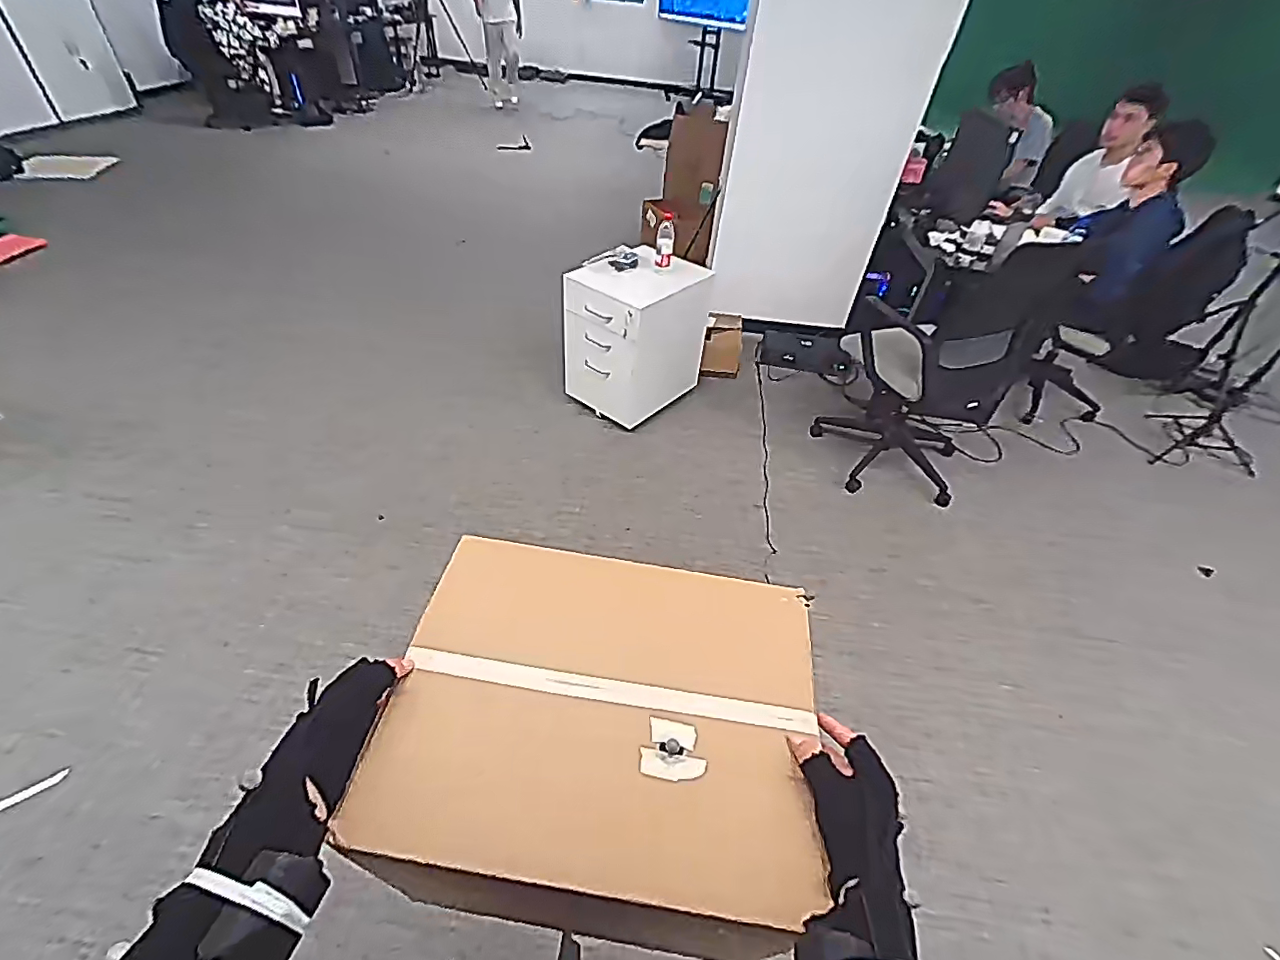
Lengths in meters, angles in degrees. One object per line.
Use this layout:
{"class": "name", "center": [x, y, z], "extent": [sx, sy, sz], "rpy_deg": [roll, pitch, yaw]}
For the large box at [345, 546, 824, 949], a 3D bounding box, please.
{"class": "large box", "center": [-0.044, 0.317, 0.645], "extent": [0.408, 0.320, 0.320], "rpy_deg": [9, 46, 2]}
